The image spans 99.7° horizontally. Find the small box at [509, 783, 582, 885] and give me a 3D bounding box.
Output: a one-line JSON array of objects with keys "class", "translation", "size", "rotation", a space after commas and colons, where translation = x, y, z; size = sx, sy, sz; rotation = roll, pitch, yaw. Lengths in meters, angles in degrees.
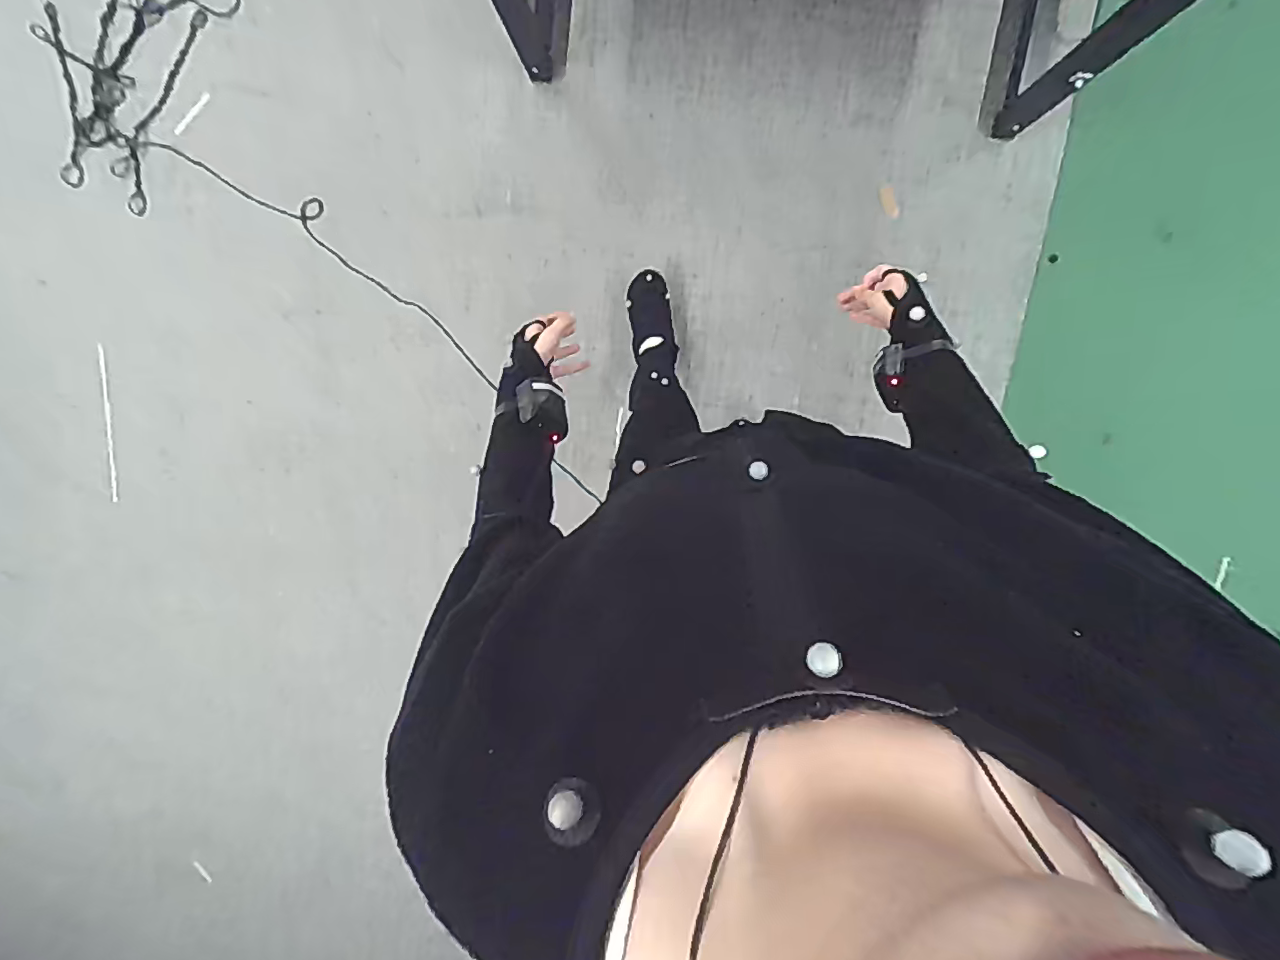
[{"class": "small box", "translation": [-0.275, 1.046, 1.612], "size": [0.168, 0.176, 0.179], "rotation": [12, 101, 3]}]

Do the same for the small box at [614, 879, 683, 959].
[{"class": "small box", "translation": [0.028, 1.366, 1.645], "size": [0.179, 0.176, 0.168], "rotation": [14, 101, 2]}]

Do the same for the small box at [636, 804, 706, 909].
[{"class": "small box", "translation": [0.091, 1.100, 1.593], "size": [0.168, 0.176, 0.179], "rotation": [13, 101, 3]}]
